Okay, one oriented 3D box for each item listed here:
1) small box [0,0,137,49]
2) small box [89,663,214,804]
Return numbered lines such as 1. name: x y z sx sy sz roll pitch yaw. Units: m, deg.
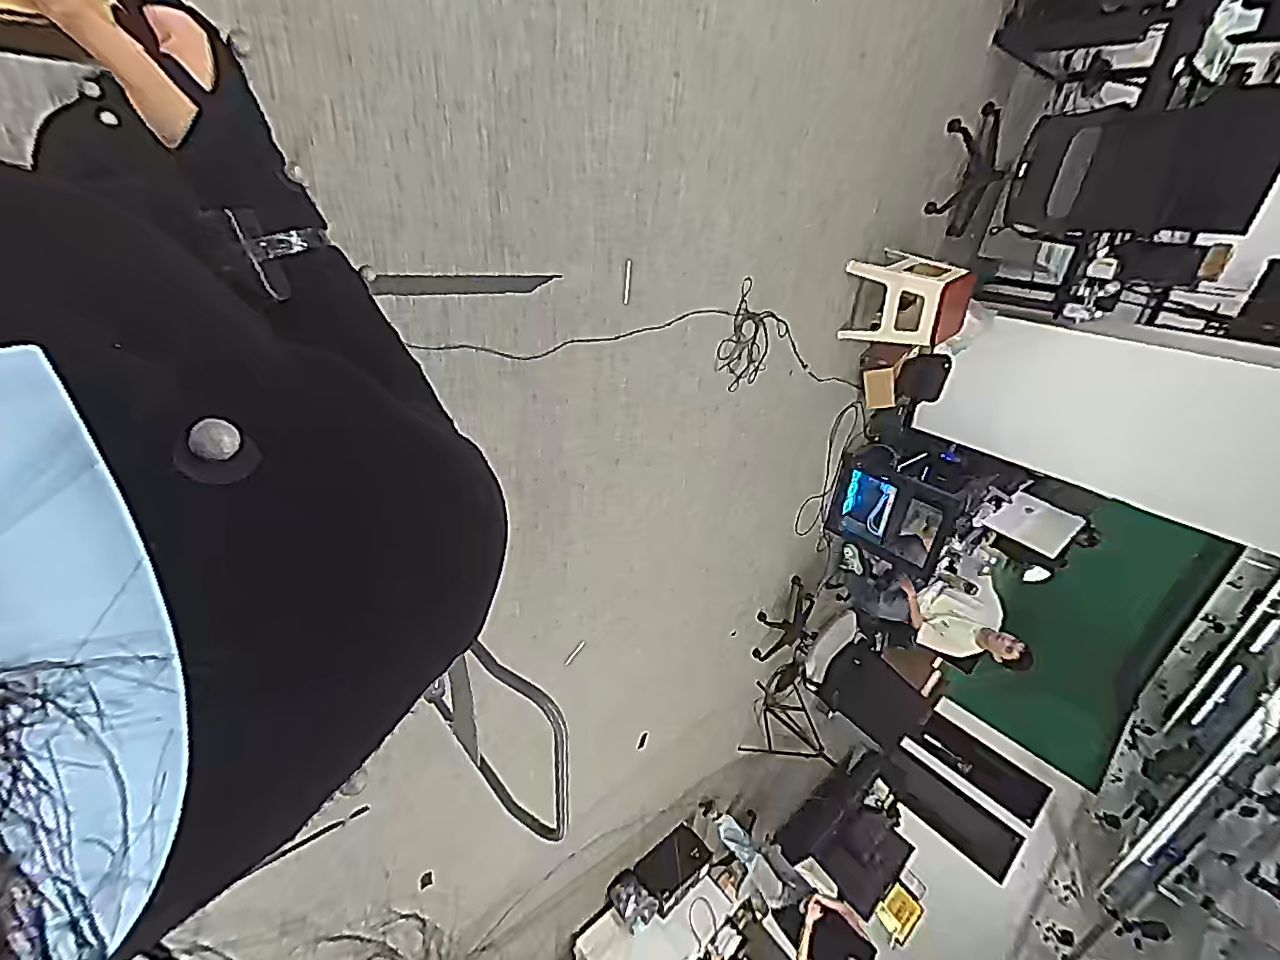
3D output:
1. small box: -0.403 -0.360 0.282 0.168 0.176 0.179 -18 125 -37
2. small box: -1.039 0.532 1.156 0.168 0.176 0.179 -16 124 -40
